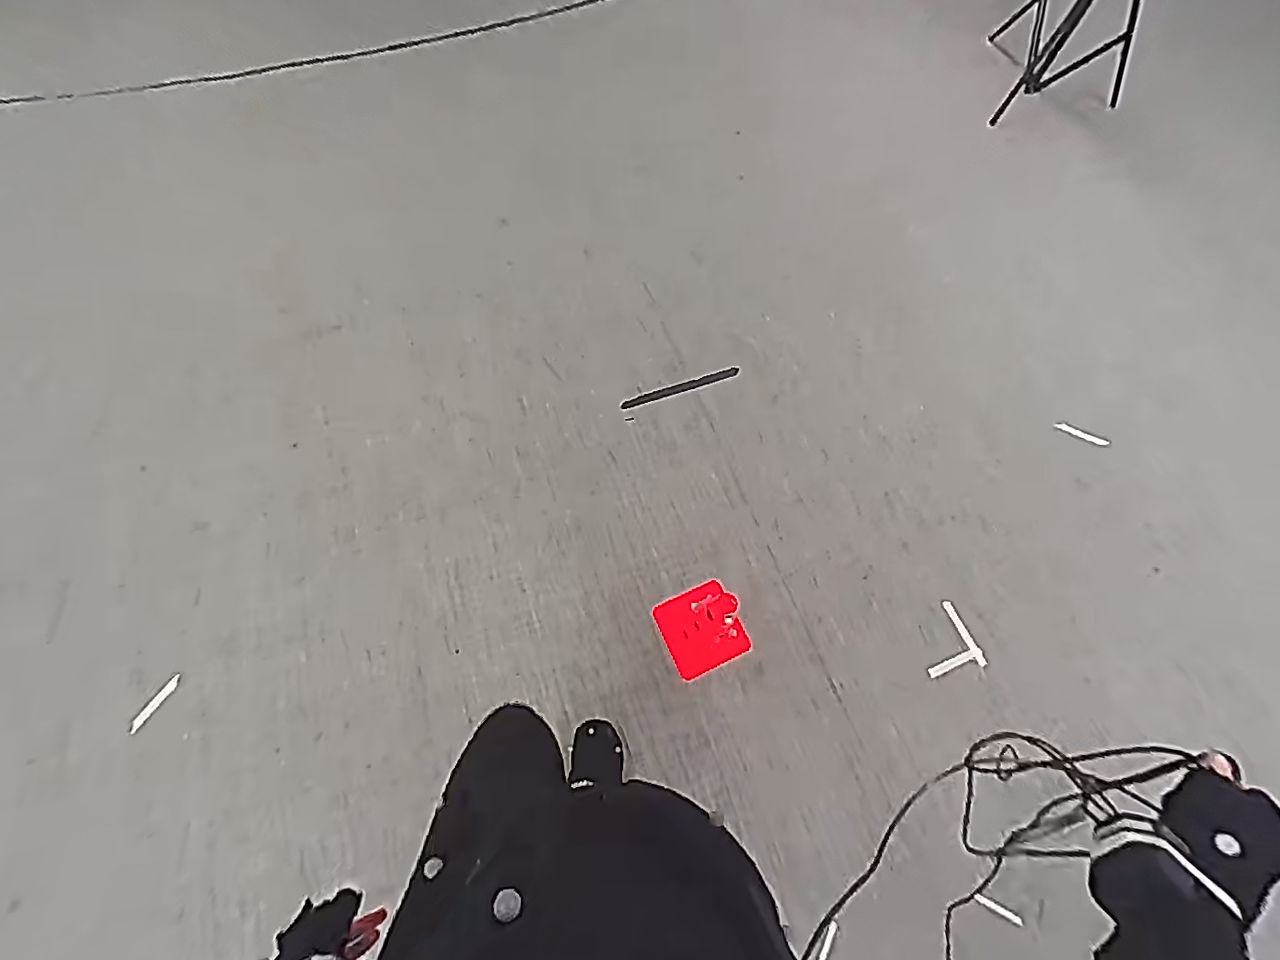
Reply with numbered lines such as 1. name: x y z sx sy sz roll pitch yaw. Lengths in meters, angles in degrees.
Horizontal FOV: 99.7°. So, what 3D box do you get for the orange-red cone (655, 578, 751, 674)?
1. orange-red cone: 0.163 0.298 1.209 0.199 0.360 0.198 -22 69 -10
